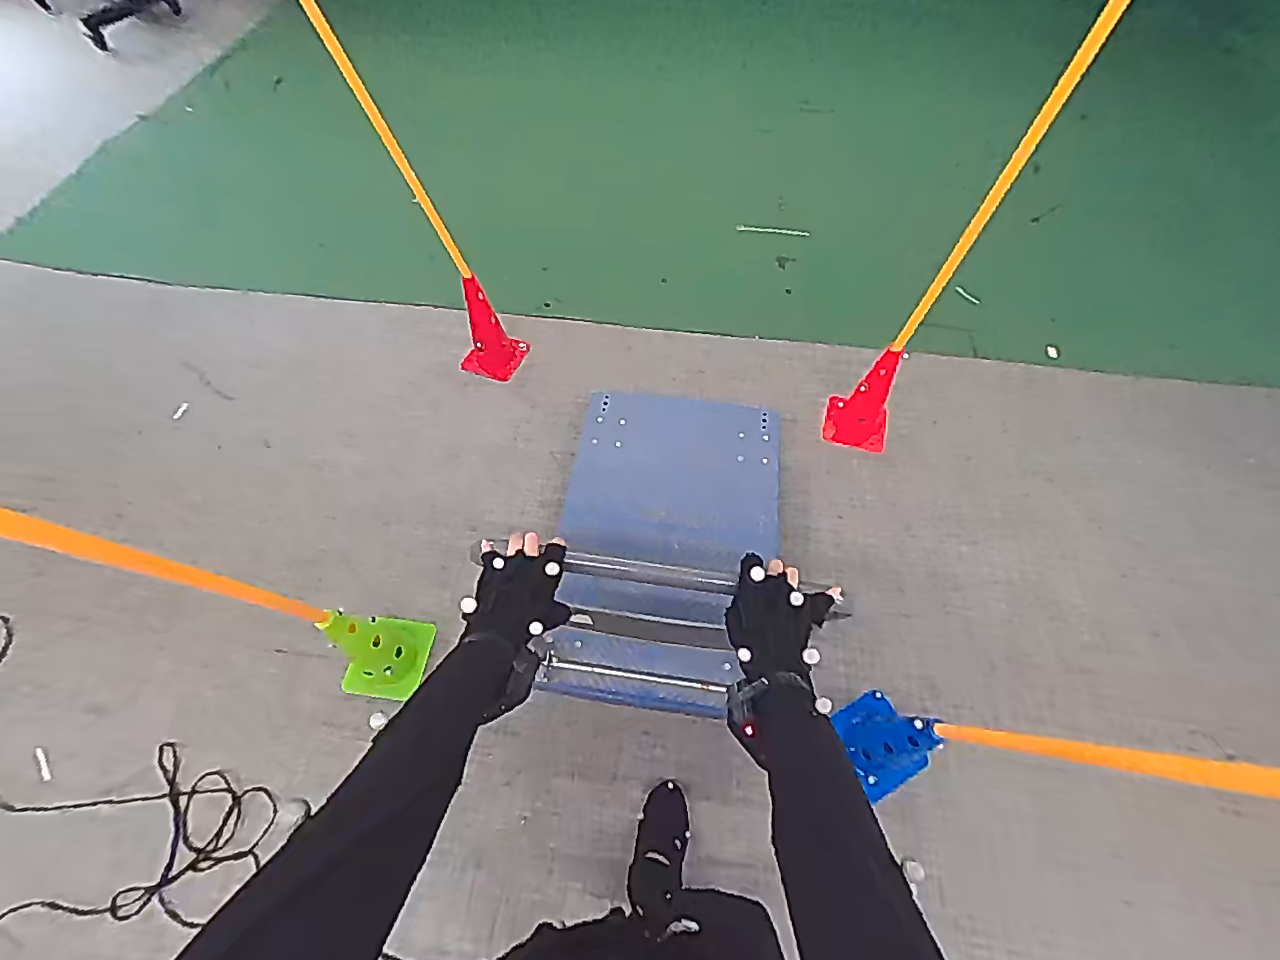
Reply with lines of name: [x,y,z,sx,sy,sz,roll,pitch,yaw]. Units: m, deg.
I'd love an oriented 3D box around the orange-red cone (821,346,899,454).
orange-red cone: [0.713,-0.271,1.664,0.198,0.360,0.199,16,61,11]
